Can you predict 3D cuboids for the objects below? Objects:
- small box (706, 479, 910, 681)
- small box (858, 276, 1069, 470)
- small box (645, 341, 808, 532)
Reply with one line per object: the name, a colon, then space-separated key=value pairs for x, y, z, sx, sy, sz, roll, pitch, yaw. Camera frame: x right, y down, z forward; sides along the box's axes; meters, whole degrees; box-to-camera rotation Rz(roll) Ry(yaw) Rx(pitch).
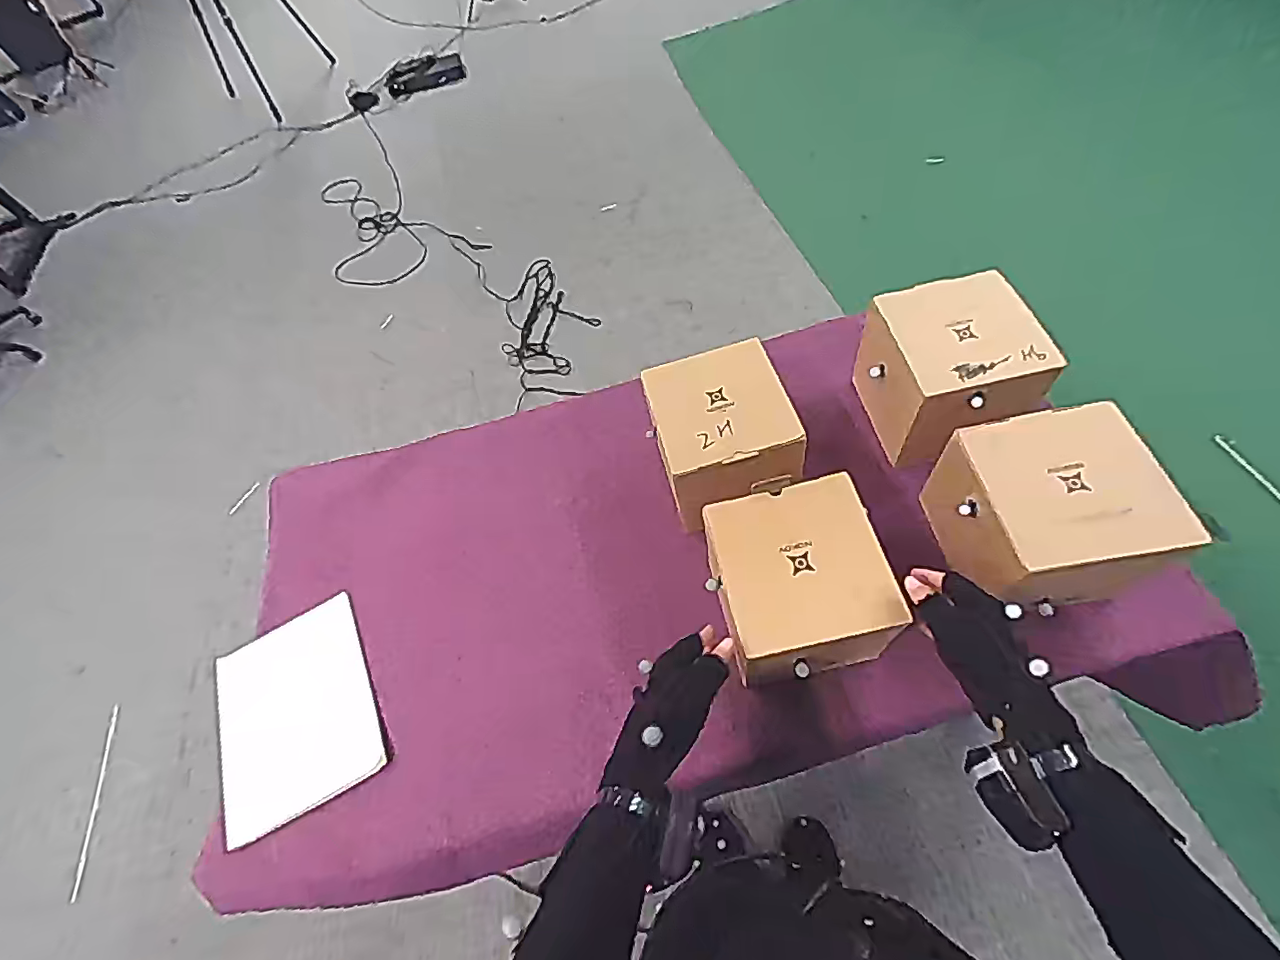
small box: x=0.180 y=0.126 z=0.627 sx=0.168 sy=0.176 sz=0.179 roll=-13 pitch=61 yaw=3
small box: x=0.413 y=-0.139 z=0.734 sx=0.168 sy=0.176 sz=0.179 roll=-12 pitch=58 yaw=4
small box: x=0.112 y=-0.054 z=0.741 sx=0.168 sy=0.176 sz=0.179 roll=-16 pitch=59 yaw=2
